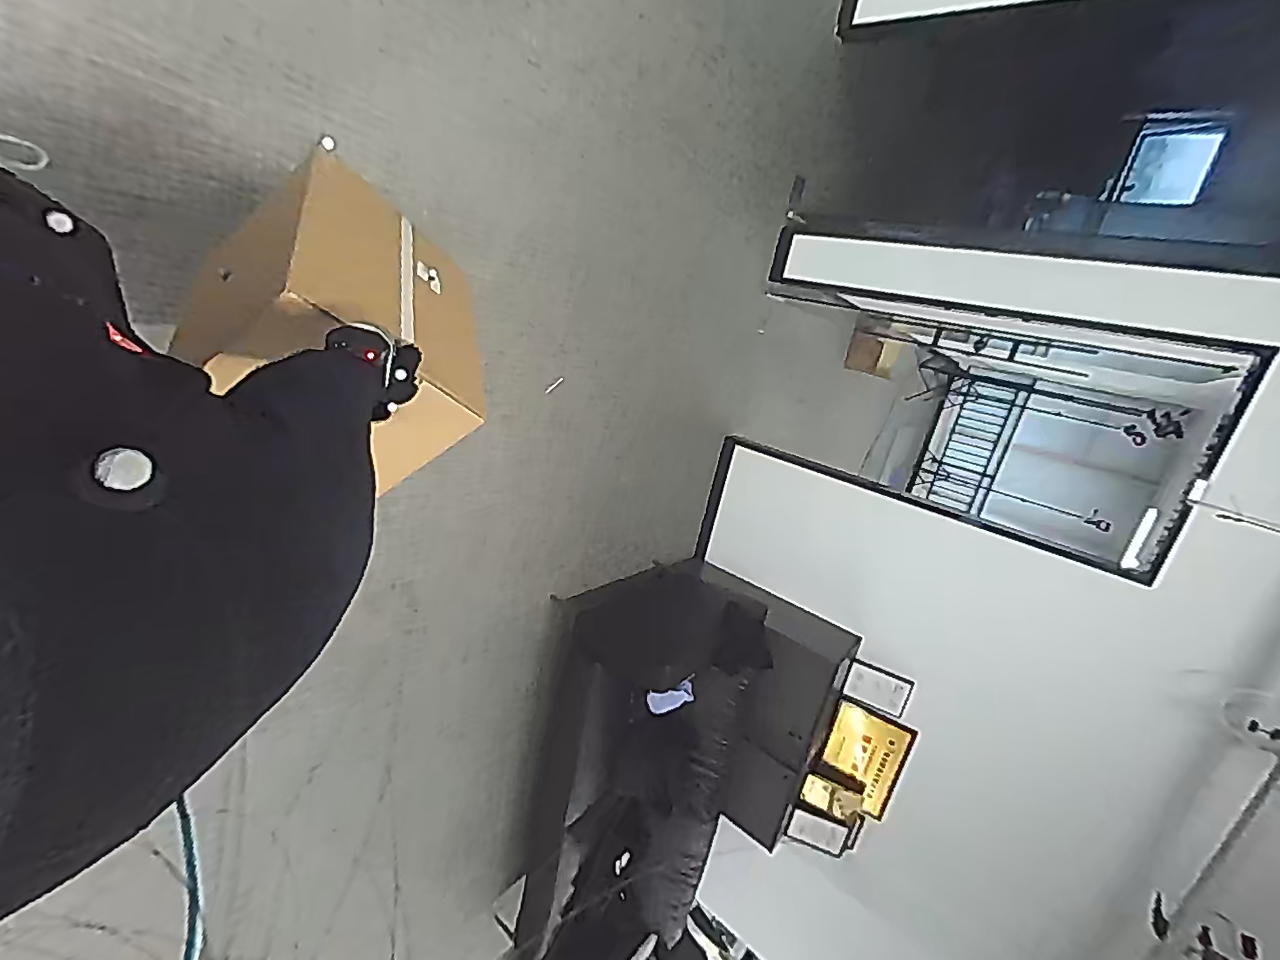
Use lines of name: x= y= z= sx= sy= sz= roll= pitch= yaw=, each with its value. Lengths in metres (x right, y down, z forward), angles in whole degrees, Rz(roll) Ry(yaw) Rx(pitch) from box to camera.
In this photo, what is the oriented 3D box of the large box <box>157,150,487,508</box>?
large box: x=-0.493 y=-0.228 z=0.887 sx=0.320 sy=0.408 sz=0.320 roll=-31 pitch=143 yaw=16
